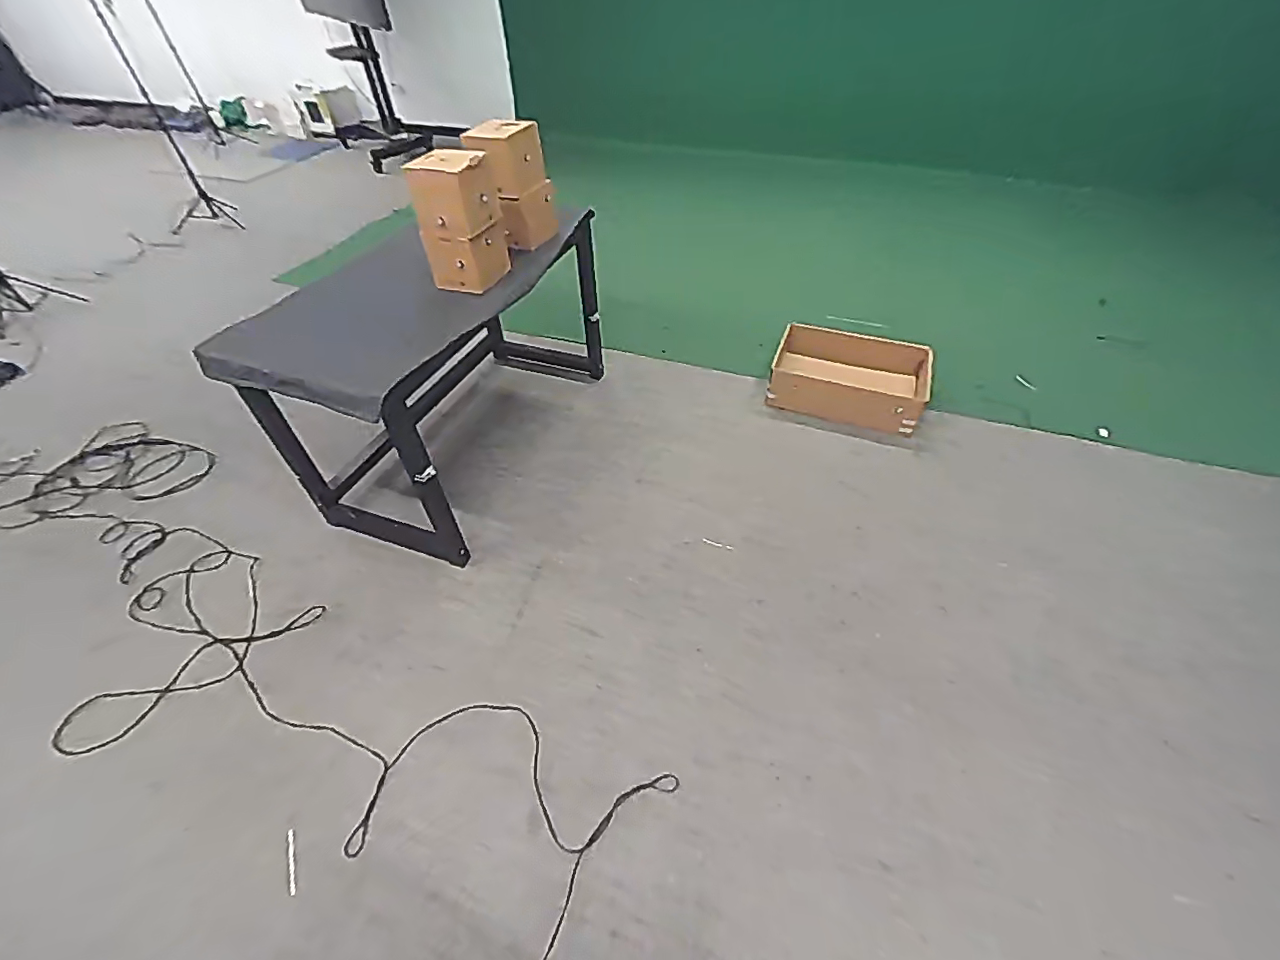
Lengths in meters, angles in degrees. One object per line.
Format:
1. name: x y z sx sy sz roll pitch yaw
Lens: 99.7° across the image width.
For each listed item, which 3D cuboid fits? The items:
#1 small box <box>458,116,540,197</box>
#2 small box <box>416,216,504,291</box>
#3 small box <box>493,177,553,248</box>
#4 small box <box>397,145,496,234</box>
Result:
1. small box: -0.427 -1.005 1.677 0.168 0.176 0.179 16 50 18
2. small box: -0.523 -0.682 1.602 0.168 0.176 0.179 14 47 14
3. small box: -0.405 -0.898 1.800 0.168 0.176 0.179 17 50 19
4. small box: -0.518 -0.791 1.480 0.179 0.176 0.168 14 49 15
